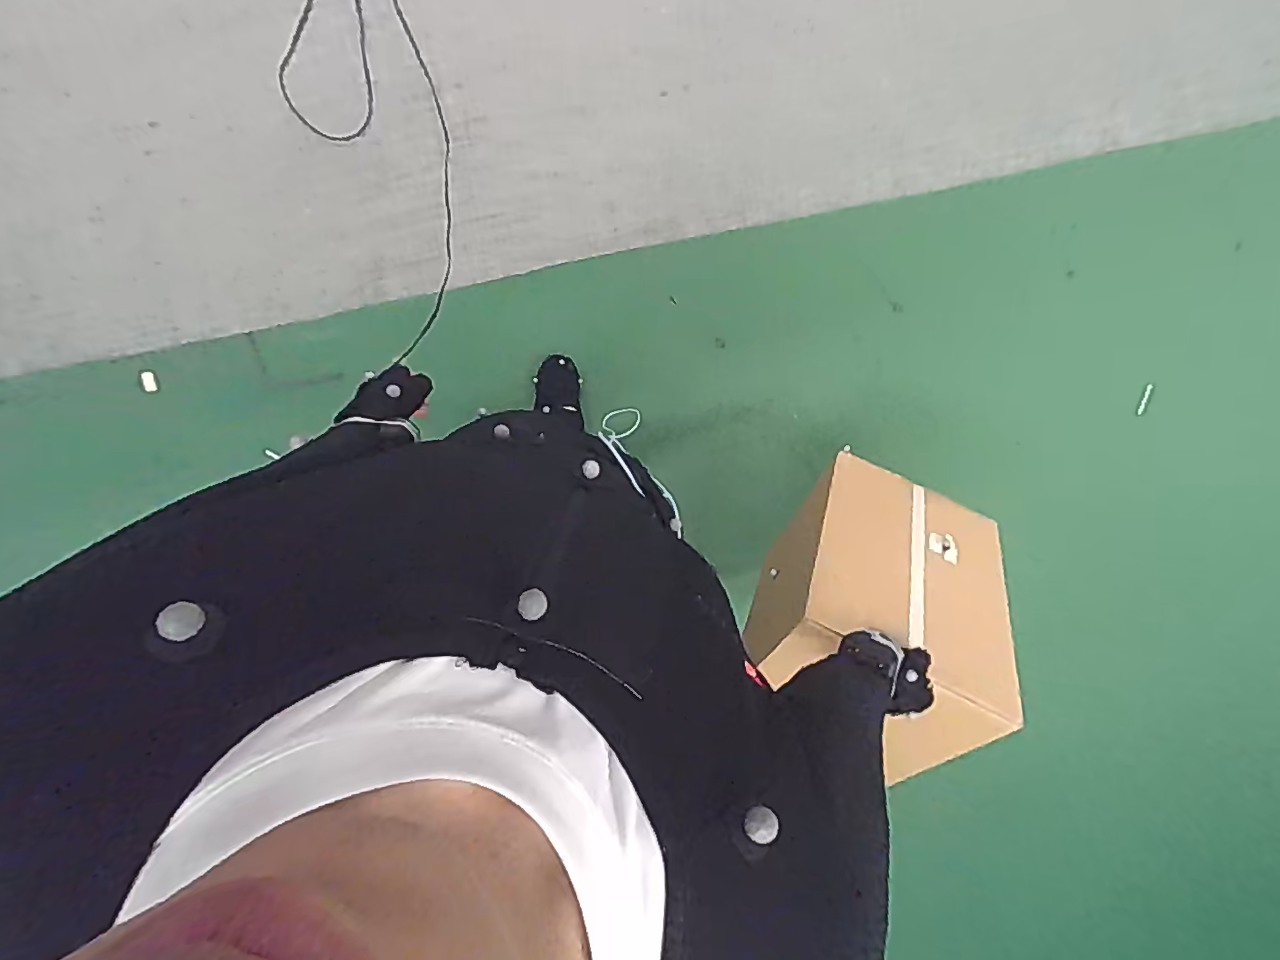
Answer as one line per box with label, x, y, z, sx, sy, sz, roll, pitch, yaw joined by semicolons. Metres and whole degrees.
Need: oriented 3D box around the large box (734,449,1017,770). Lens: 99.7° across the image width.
large box;0.401;0.224;0.978;0.320;0.408;0.320;26;135;5
